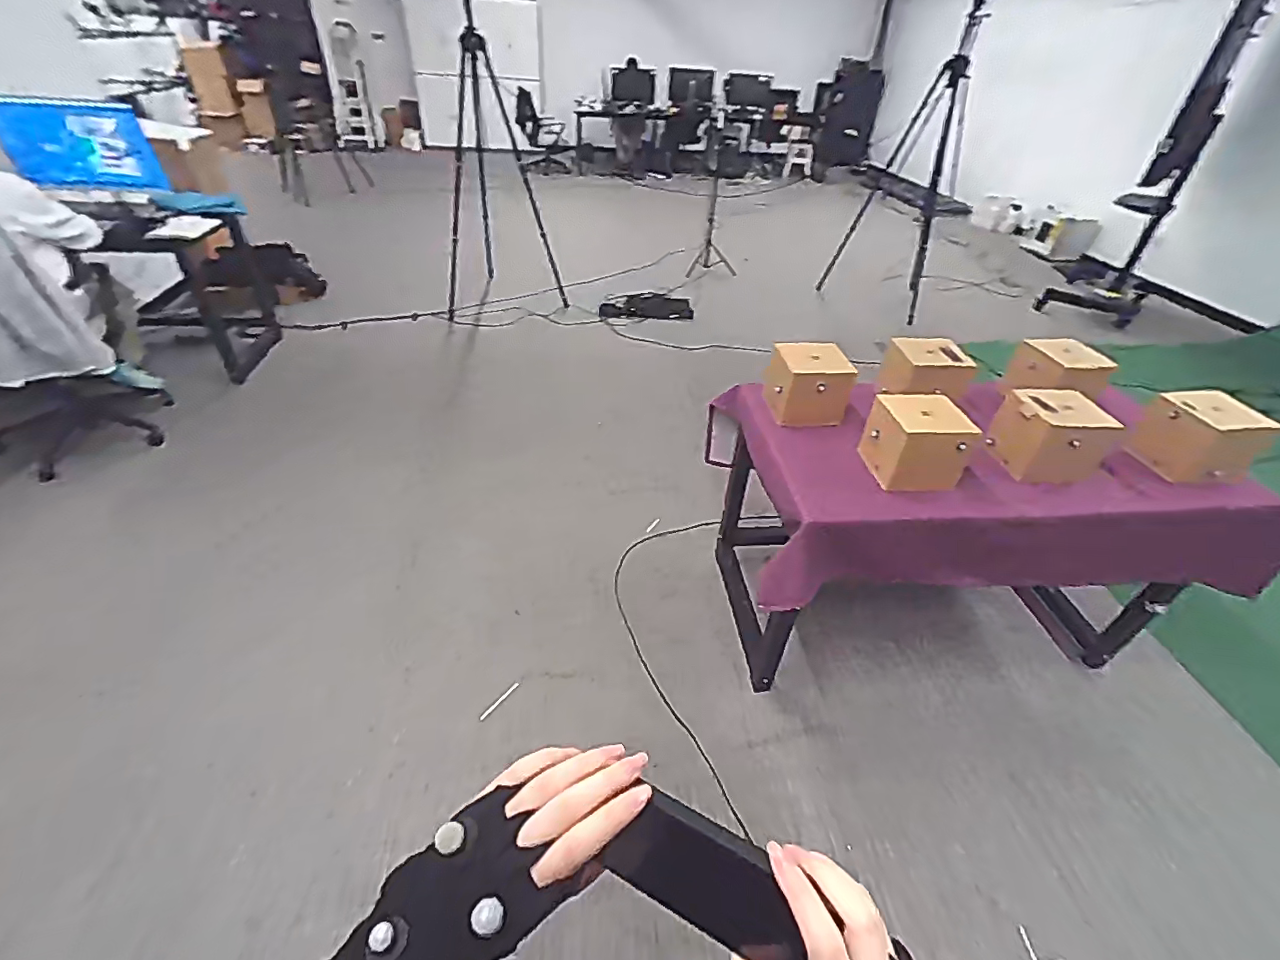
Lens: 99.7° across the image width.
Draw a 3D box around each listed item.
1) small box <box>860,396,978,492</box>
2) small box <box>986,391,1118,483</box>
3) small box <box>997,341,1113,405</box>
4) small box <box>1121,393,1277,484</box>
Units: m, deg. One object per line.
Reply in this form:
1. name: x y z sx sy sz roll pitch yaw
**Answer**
1. small box: 0.646 -0.085 1.285 0.179 0.176 0.168 0 39 -6
2. small box: 0.995 -0.105 1.333 0.179 0.176 0.168 1 39 -4
3. small box: 1.195 -0.292 1.575 0.168 0.176 0.179 -4 40 -8
4. small box: 1.385 -0.103 1.357 0.179 0.176 0.168 -2 39 -7
